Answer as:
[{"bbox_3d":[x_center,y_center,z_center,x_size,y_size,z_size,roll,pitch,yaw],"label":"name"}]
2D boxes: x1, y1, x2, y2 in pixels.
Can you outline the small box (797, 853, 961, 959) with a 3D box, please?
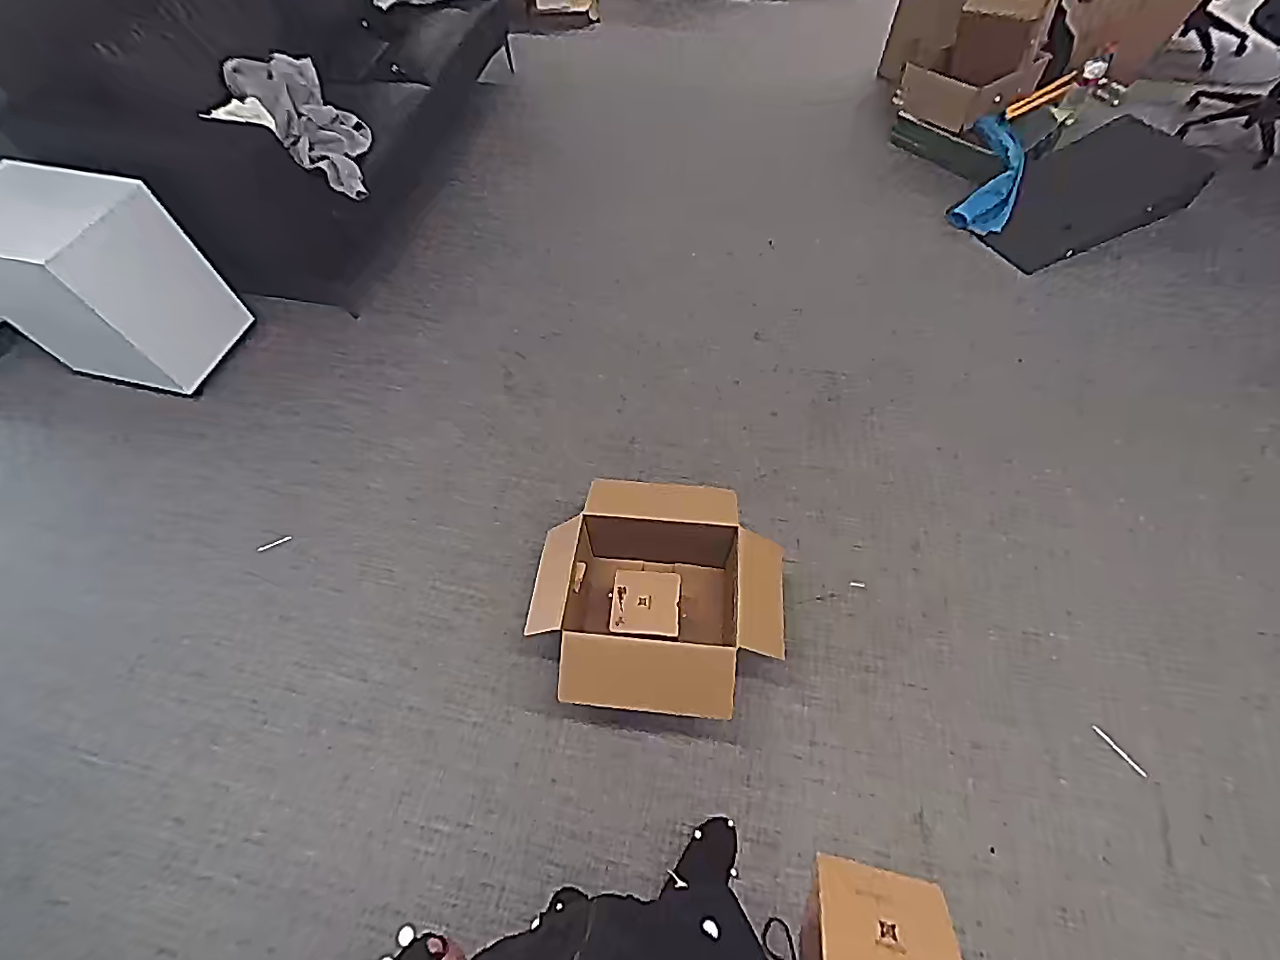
[{"bbox_3d":[0.297,0.636,0.685,0.168,0.176,0.179,9,16,12],"label":"small box"}]
